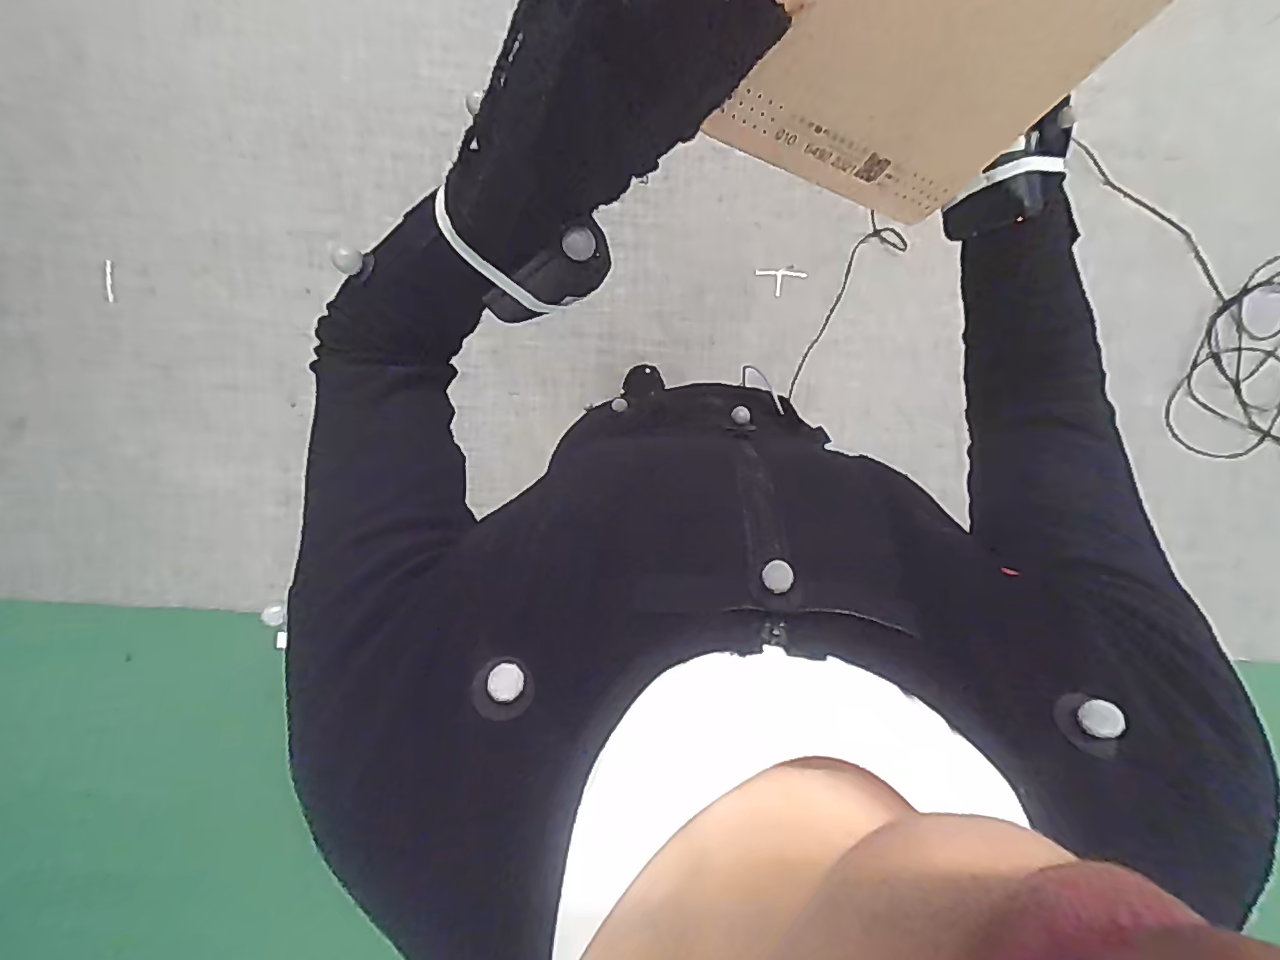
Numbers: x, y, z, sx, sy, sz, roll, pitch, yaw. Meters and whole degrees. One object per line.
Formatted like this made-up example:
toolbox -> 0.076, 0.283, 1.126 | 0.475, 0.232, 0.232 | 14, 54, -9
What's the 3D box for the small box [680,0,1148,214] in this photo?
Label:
small box -> 0.128, -0.285, 0.280 | 0.168, 0.176, 0.179 | 8, 65, -25
